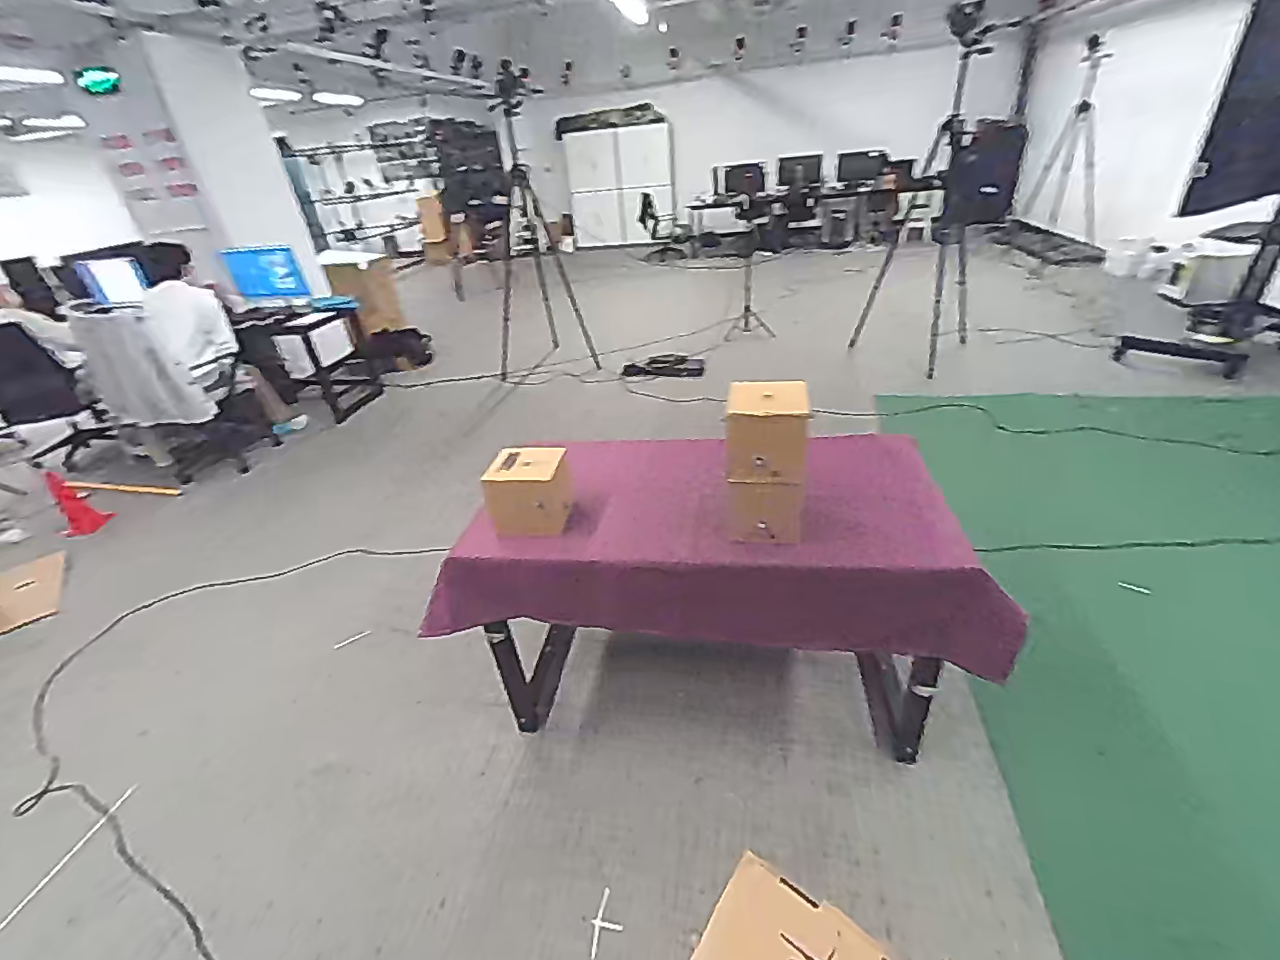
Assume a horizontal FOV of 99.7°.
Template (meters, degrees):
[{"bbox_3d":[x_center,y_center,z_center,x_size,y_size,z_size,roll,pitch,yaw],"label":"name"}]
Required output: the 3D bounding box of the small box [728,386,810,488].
[{"bbox_3d":[0.283,-0.100,1.201,0.168,0.176,0.179,1,33,13],"label":"small box"}]

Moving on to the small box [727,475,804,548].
[{"bbox_3d":[0.296,0.040,1.285,0.168,0.176,0.179,1,32,13],"label":"small box"}]
